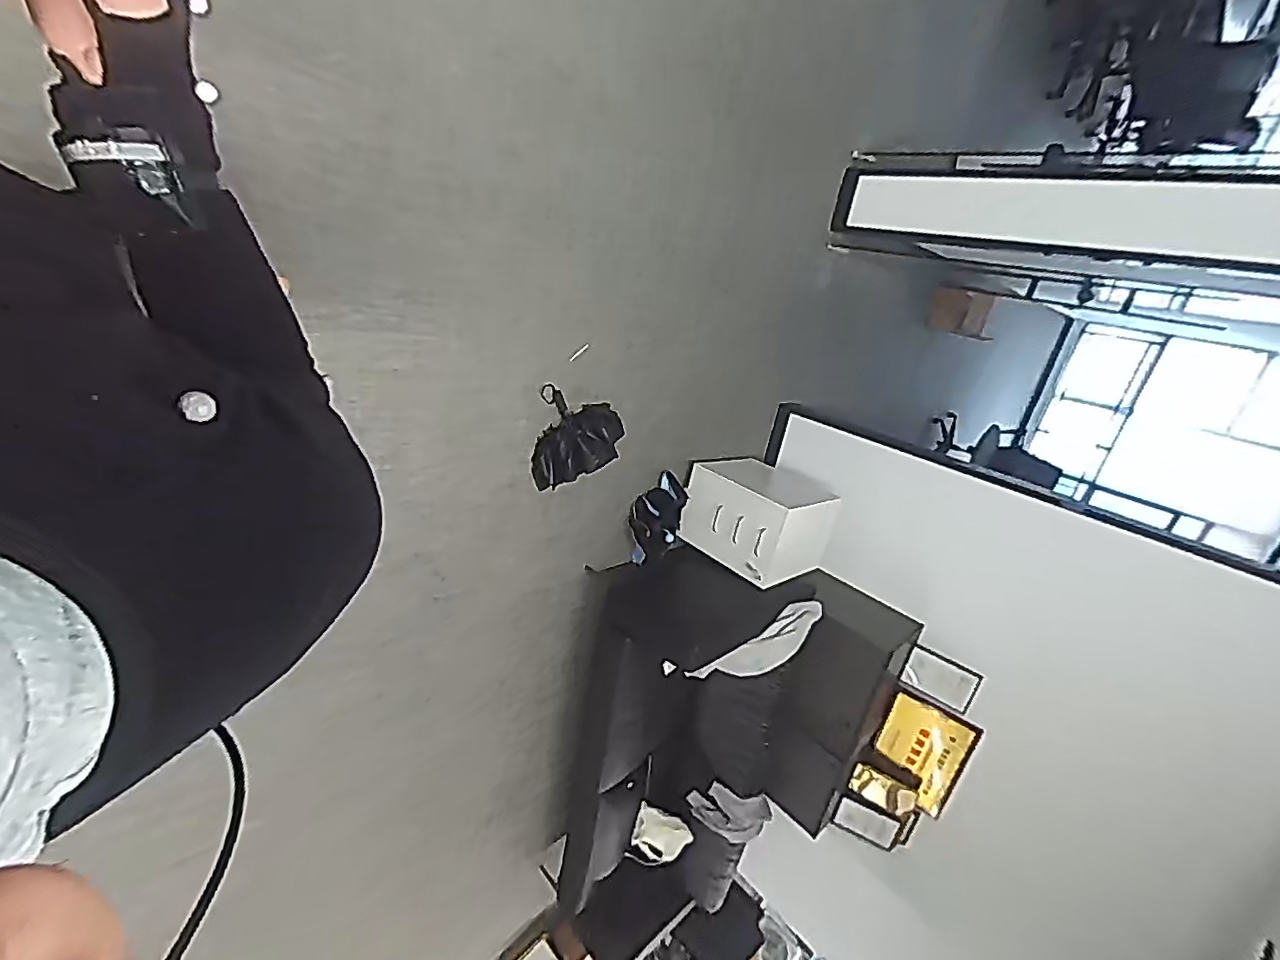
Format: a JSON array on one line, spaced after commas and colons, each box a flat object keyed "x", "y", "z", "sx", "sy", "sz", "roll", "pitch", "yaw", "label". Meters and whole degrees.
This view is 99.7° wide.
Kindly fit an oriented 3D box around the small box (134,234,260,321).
[{"x": -0.939, "y": -0.409, "z": 1.146, "sx": 0.179, "sy": 0.176, "sz": 0.168, "roll": 4, "pitch": 108, "yaw": -48, "label": "small box"}]
